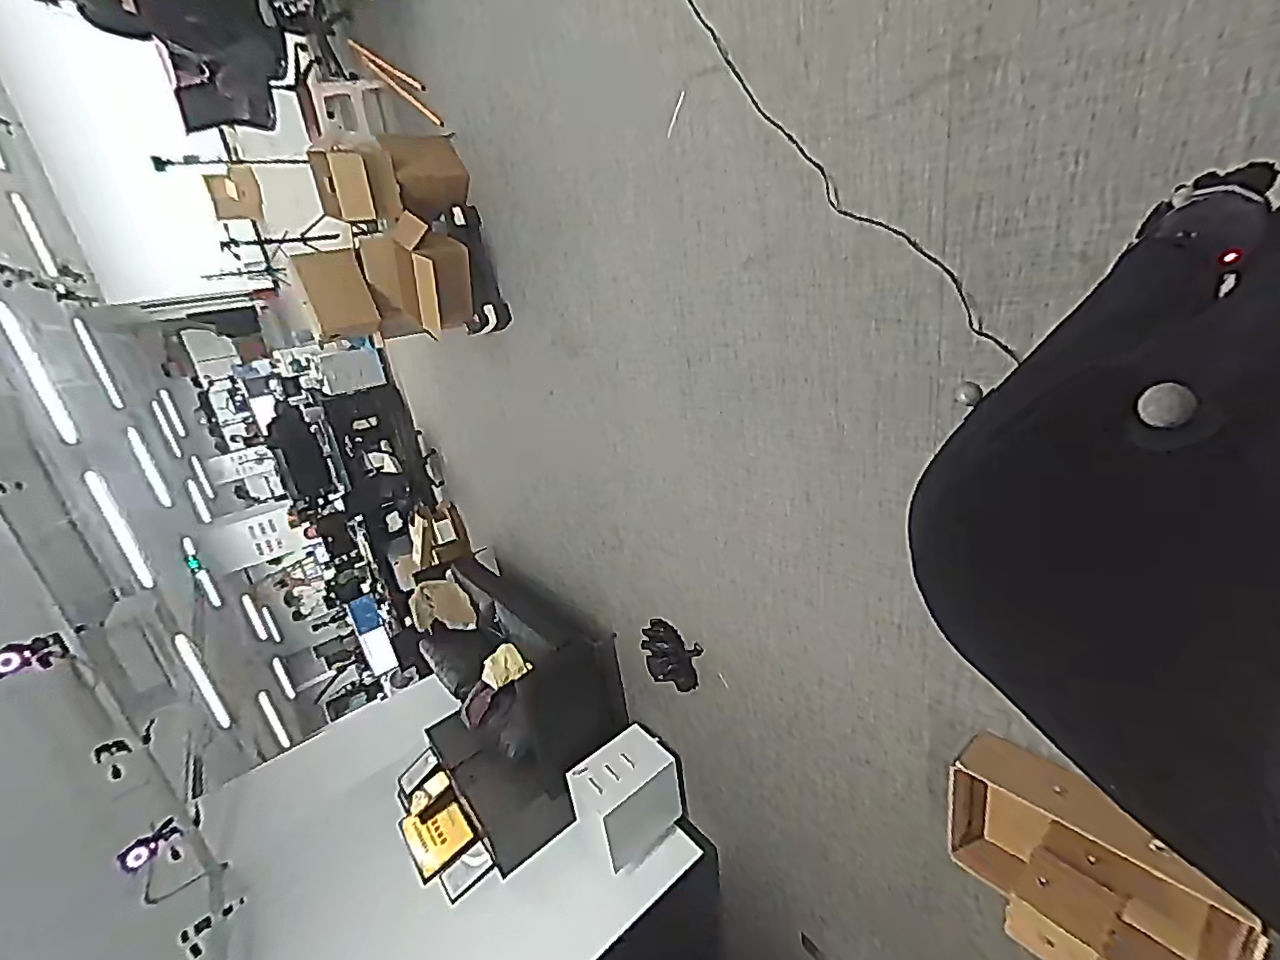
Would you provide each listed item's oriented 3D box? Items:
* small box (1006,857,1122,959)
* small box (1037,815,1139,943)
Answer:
[{"bbox_3d":[1.028,1.069,1.315,0.179,0.176,0.168,15,122,51],"label":"small box"},{"bbox_3d":[1.174,1.035,1.421,0.179,0.176,0.168,14,121,52],"label":"small box"}]
